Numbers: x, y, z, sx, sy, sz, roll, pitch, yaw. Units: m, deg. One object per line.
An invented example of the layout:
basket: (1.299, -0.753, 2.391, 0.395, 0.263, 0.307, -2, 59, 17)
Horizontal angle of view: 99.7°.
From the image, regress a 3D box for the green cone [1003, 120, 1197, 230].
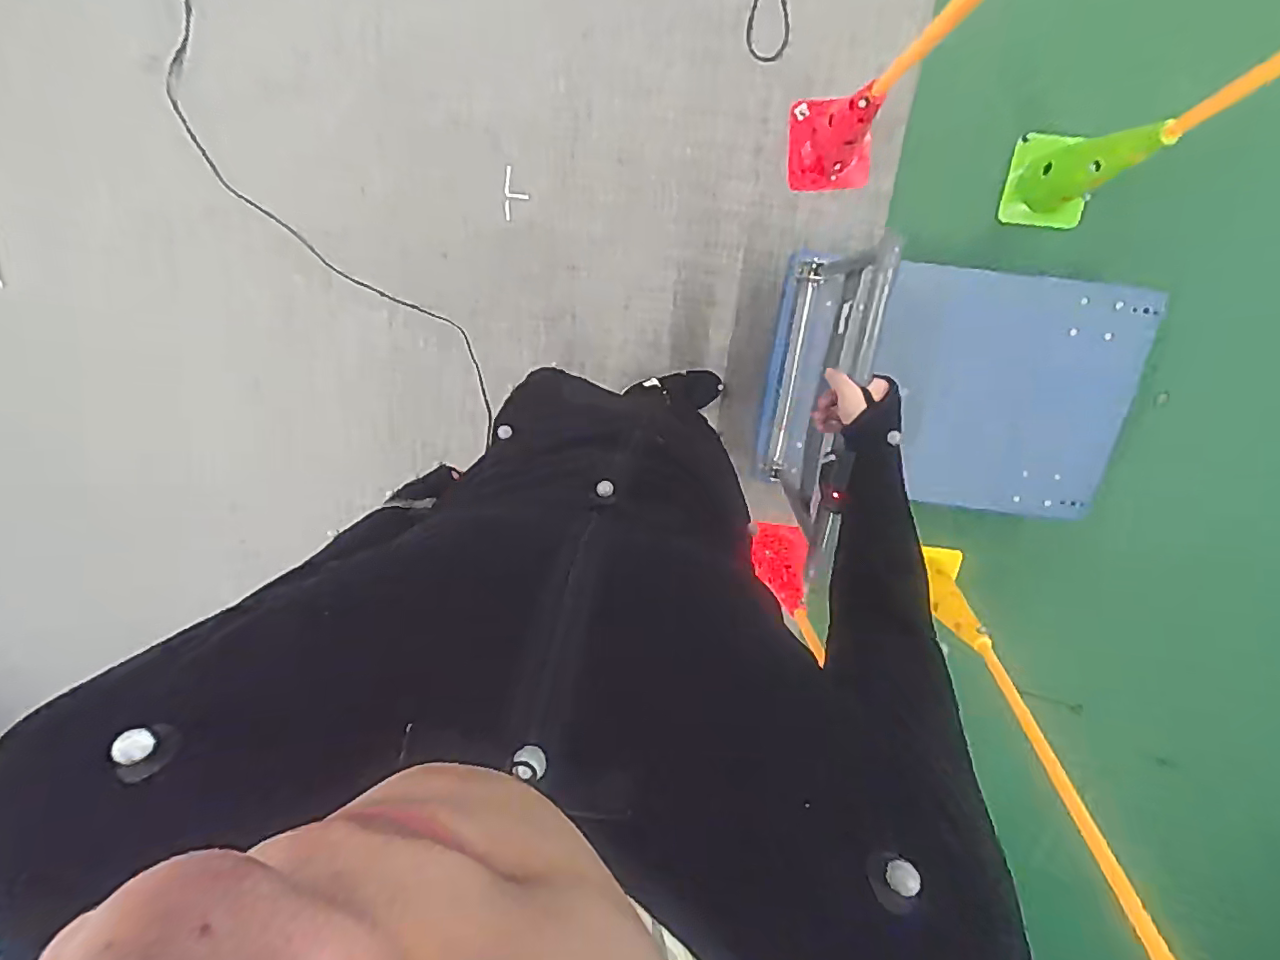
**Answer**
green cone: (0.997, -0.679, 1.154, 0.202, 0.368, 0.200, 7, 106, 1)

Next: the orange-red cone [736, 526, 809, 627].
orange-red cone: (0.397, 0.292, 1.494, 0.199, 0.360, 0.198, 7, 108, 0)
